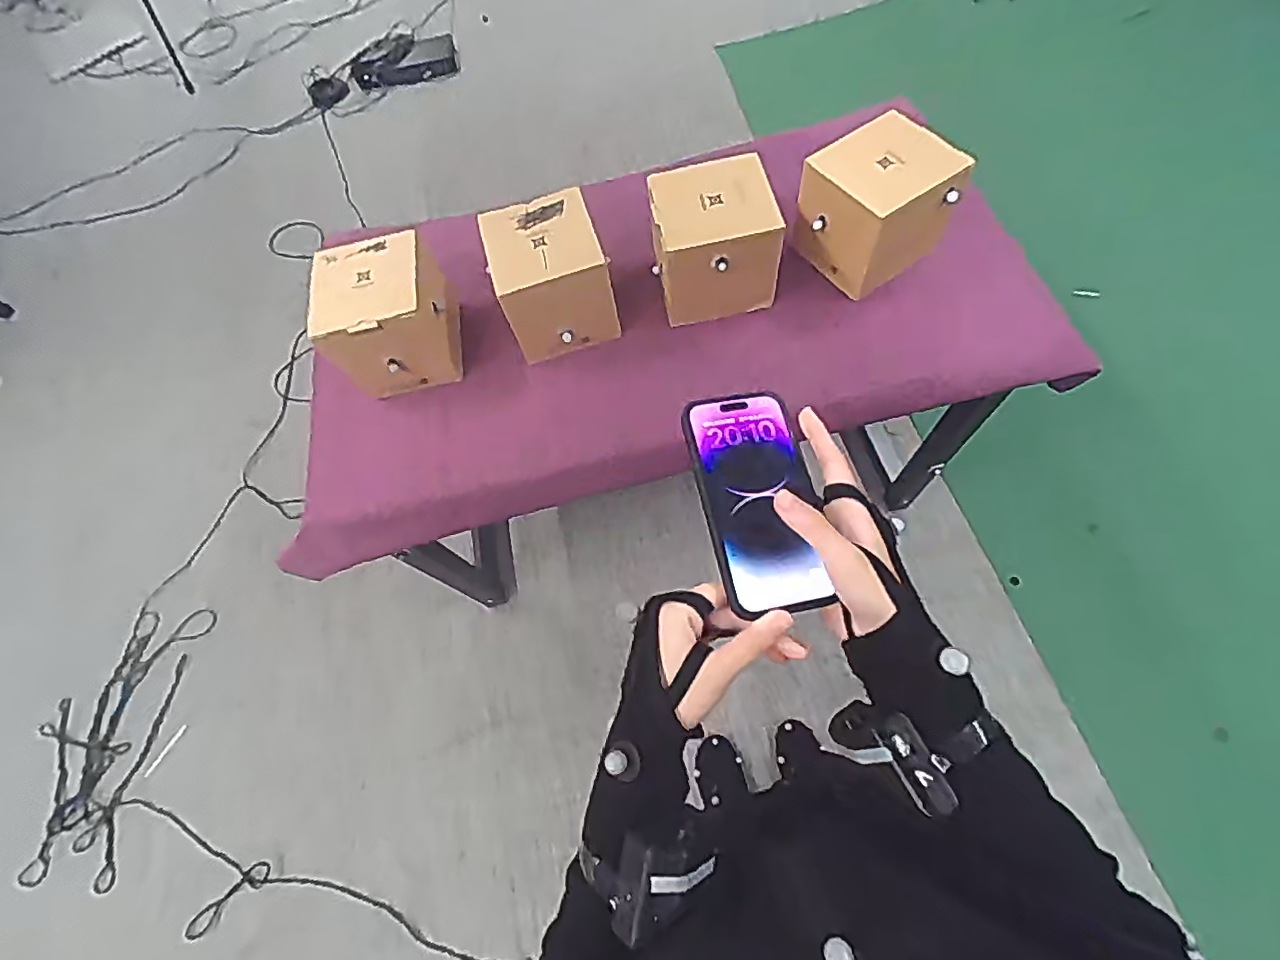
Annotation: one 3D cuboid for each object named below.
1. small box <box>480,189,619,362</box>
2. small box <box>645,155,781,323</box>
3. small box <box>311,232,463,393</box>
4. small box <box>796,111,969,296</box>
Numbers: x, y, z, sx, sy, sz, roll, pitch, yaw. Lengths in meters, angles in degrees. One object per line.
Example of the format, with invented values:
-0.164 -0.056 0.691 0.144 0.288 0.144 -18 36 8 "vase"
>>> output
-0.140 -0.324 0.877 0.168 0.176 0.179 -18 65 -1 "small box"
0.114 -0.377 0.869 0.179 0.176 0.168 -11 65 2 "small box"
-0.401 -0.261 0.882 0.168 0.176 0.179 -13 65 1 "small box"
0.367 -0.430 0.860 0.179 0.176 0.168 -33 65 -8 "small box"
